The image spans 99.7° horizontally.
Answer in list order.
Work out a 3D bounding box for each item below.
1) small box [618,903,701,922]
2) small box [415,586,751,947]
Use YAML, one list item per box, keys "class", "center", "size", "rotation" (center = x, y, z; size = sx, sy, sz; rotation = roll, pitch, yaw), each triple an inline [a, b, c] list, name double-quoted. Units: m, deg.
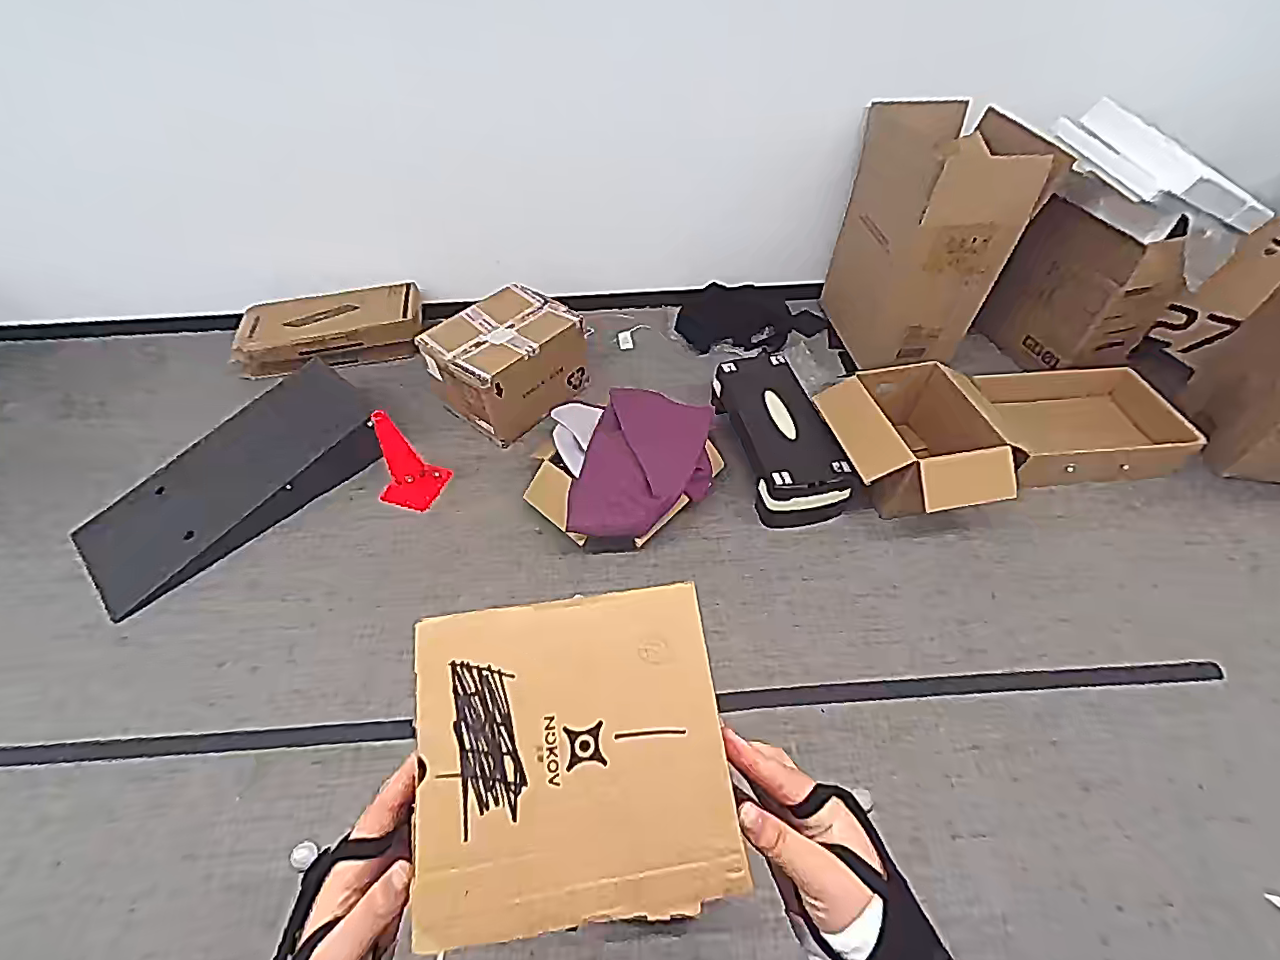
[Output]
- class: "small box"
  center: [0.039, 0.823, 1.149]
  size: [0.168, 0.176, 0.179]
  rotation: [-2, 51, 0]
- class: "small box"
  center: [-0.037, 0.183, 0.379]
  size: [0.179, 0.176, 0.168]
  rotation: [-7, 67, -4]
